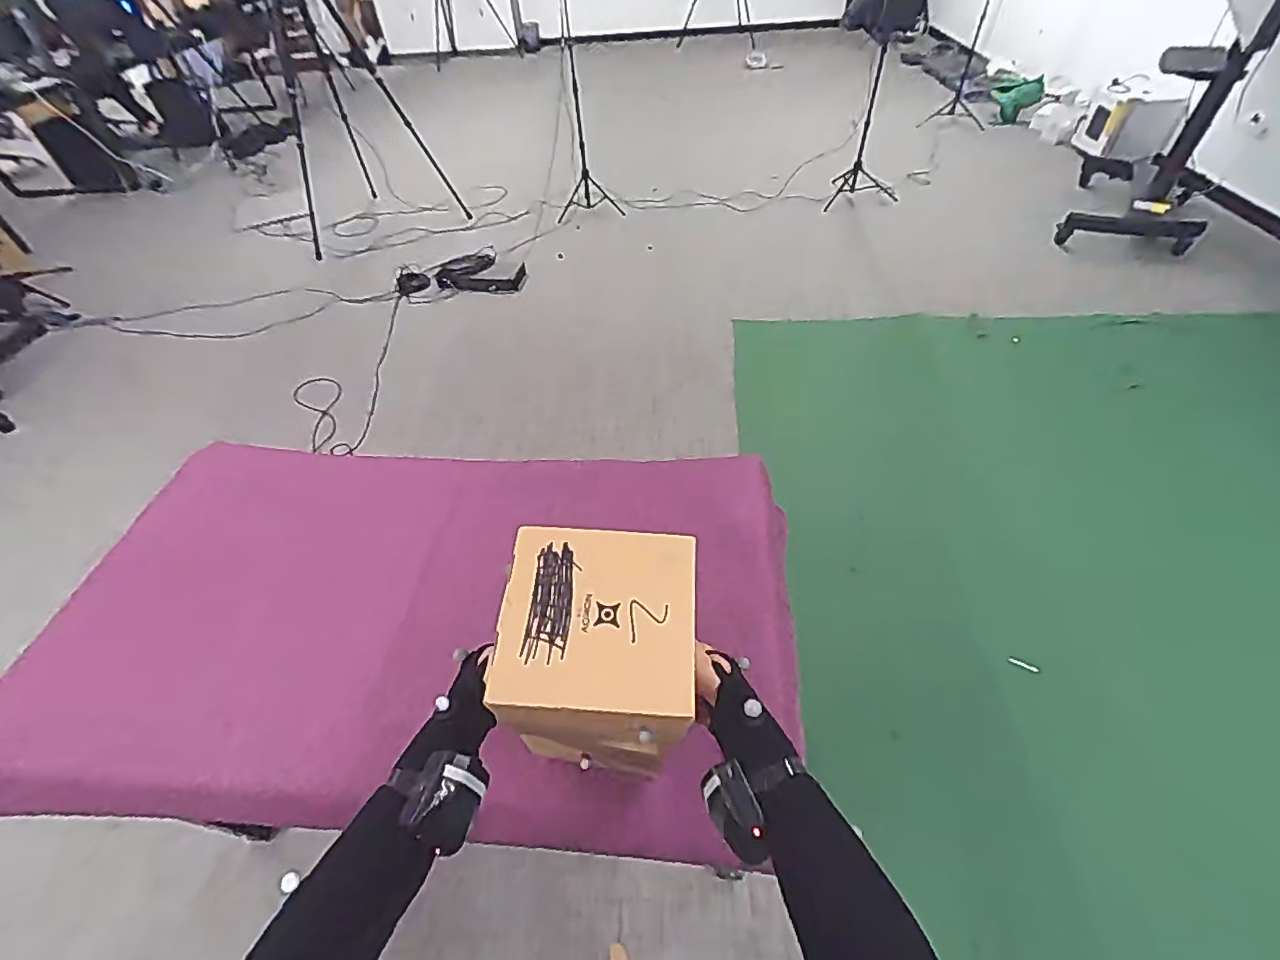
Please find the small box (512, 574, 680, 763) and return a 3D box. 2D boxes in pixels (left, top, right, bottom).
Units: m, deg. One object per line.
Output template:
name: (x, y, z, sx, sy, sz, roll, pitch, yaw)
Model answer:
small box: (-0.047, 0.246, 0.690, 0.168, 0.176, 0.179, 9, 55, 4)
